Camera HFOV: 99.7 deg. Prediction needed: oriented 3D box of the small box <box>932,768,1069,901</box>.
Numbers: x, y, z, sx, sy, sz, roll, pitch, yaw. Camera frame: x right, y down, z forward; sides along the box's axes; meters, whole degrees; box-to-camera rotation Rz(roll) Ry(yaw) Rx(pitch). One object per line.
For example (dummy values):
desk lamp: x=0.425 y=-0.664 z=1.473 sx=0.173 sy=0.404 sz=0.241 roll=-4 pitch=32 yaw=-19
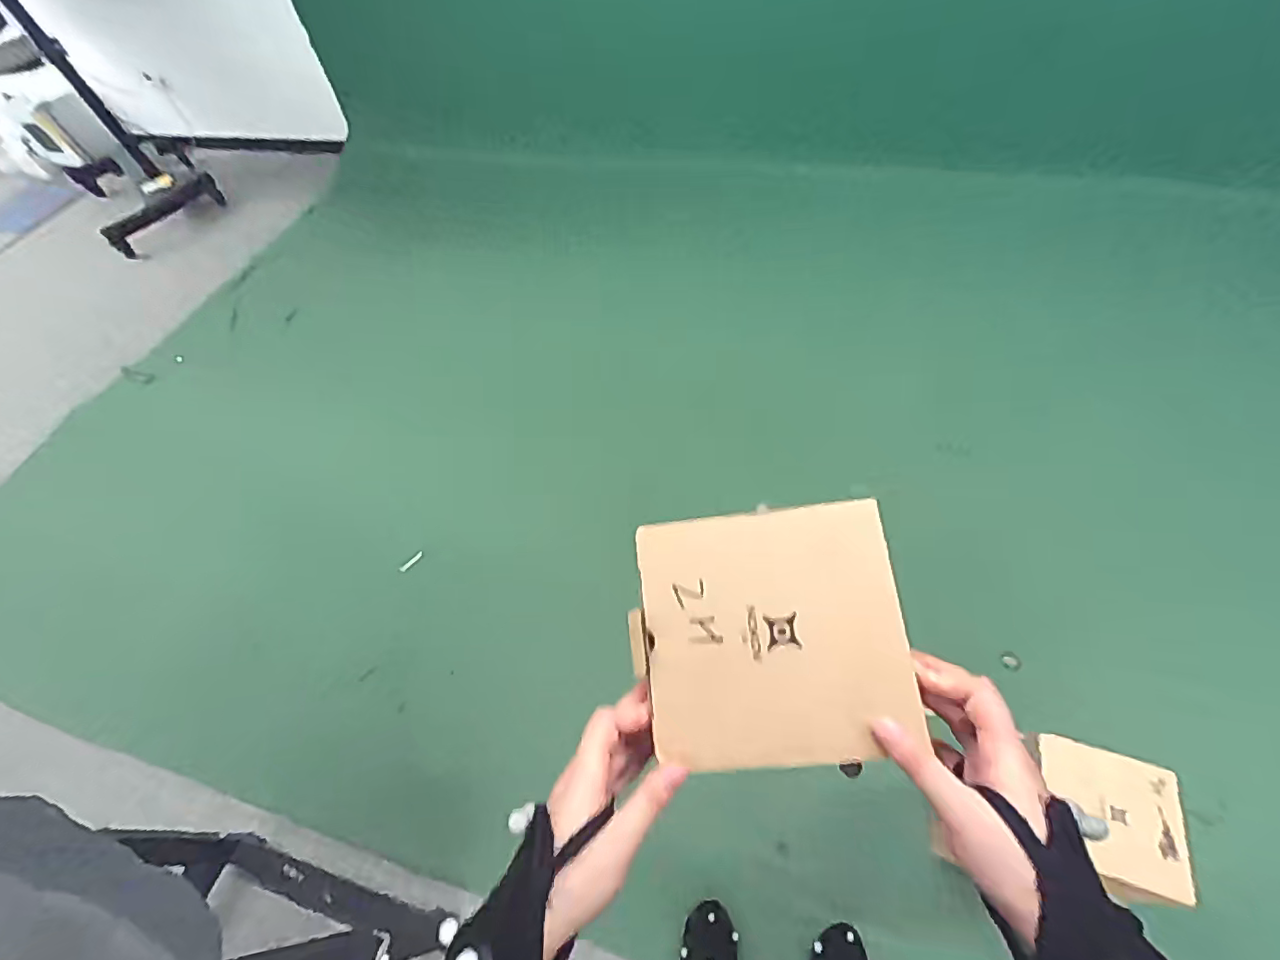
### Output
small box: x=0.715 y=0.703 z=1.083 sx=0.179 sy=0.176 sz=0.168 roll=14 pitch=59 yaw=17

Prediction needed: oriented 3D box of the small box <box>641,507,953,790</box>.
small box: x=0.105 y=0.127 z=0.426 sx=0.179 sy=0.176 sz=0.168 roll=-9 pitch=72 yaw=8

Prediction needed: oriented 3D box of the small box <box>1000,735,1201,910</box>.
small box: x=0.670 y=0.514 z=0.817 sx=0.179 sy=0.176 sz=0.168 roll=13 pitch=58 yaw=16
